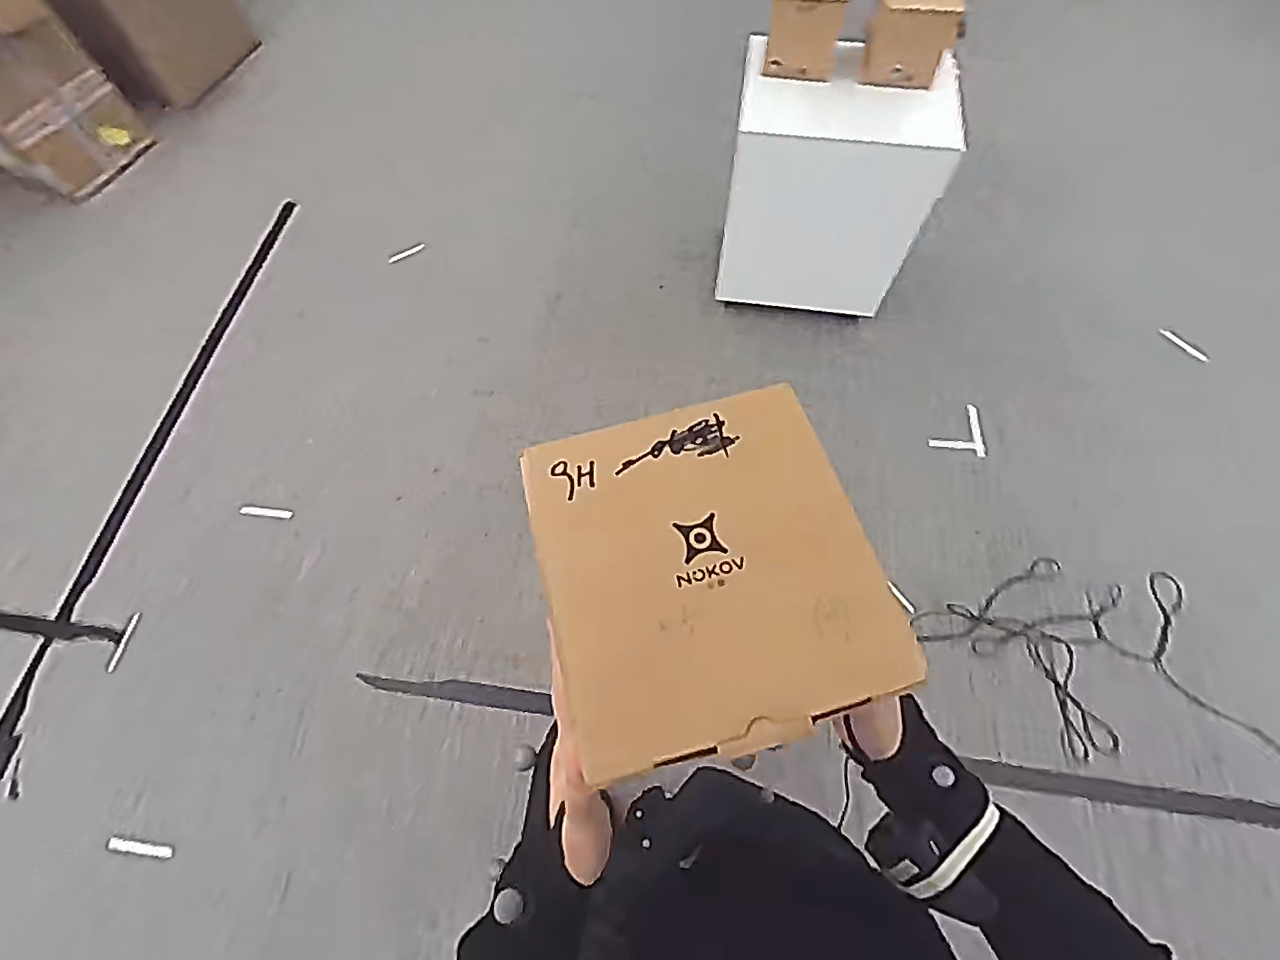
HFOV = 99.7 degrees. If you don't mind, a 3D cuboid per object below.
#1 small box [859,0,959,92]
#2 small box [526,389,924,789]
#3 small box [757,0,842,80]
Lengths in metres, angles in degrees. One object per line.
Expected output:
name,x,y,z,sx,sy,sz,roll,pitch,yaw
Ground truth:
small box,0.629,-1.068,1.286,0.168,0.176,0.179,7,68,6
small box,0.037,0.073,0.349,0.168,0.176,0.179,-14,66,-5
small box,0.383,-1.106,1.305,0.168,0.176,0.179,9,66,5
